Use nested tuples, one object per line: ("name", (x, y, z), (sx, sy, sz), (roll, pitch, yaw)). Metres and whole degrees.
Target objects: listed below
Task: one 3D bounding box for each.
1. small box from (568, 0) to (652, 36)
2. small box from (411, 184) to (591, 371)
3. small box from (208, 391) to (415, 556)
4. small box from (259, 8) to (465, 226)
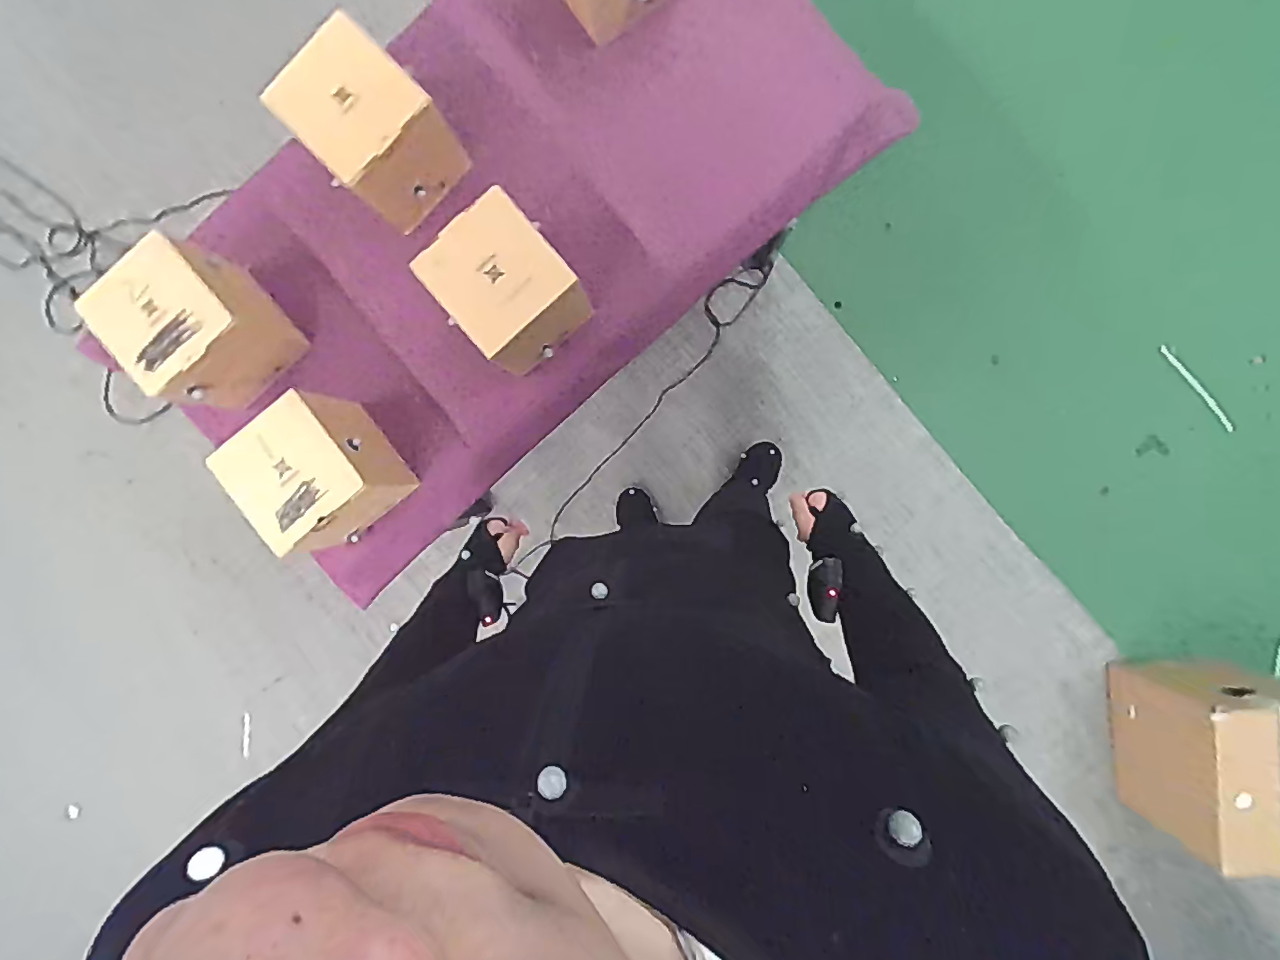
("small box", (-0.057, -0.816, 0.782), (0.168, 0.176, 0.179), (-35, 91, 4))
("small box", (-0.195, -0.287, 0.811), (0.168, 0.176, 0.179), (-41, 90, 4))
("small box", (-0.485, -0.011, 0.830), (0.168, 0.176, 0.179), (-39, 89, 3))
("small box", (-0.400, -0.523, 0.810), (0.179, 0.176, 0.168), (44, 93, -1))
